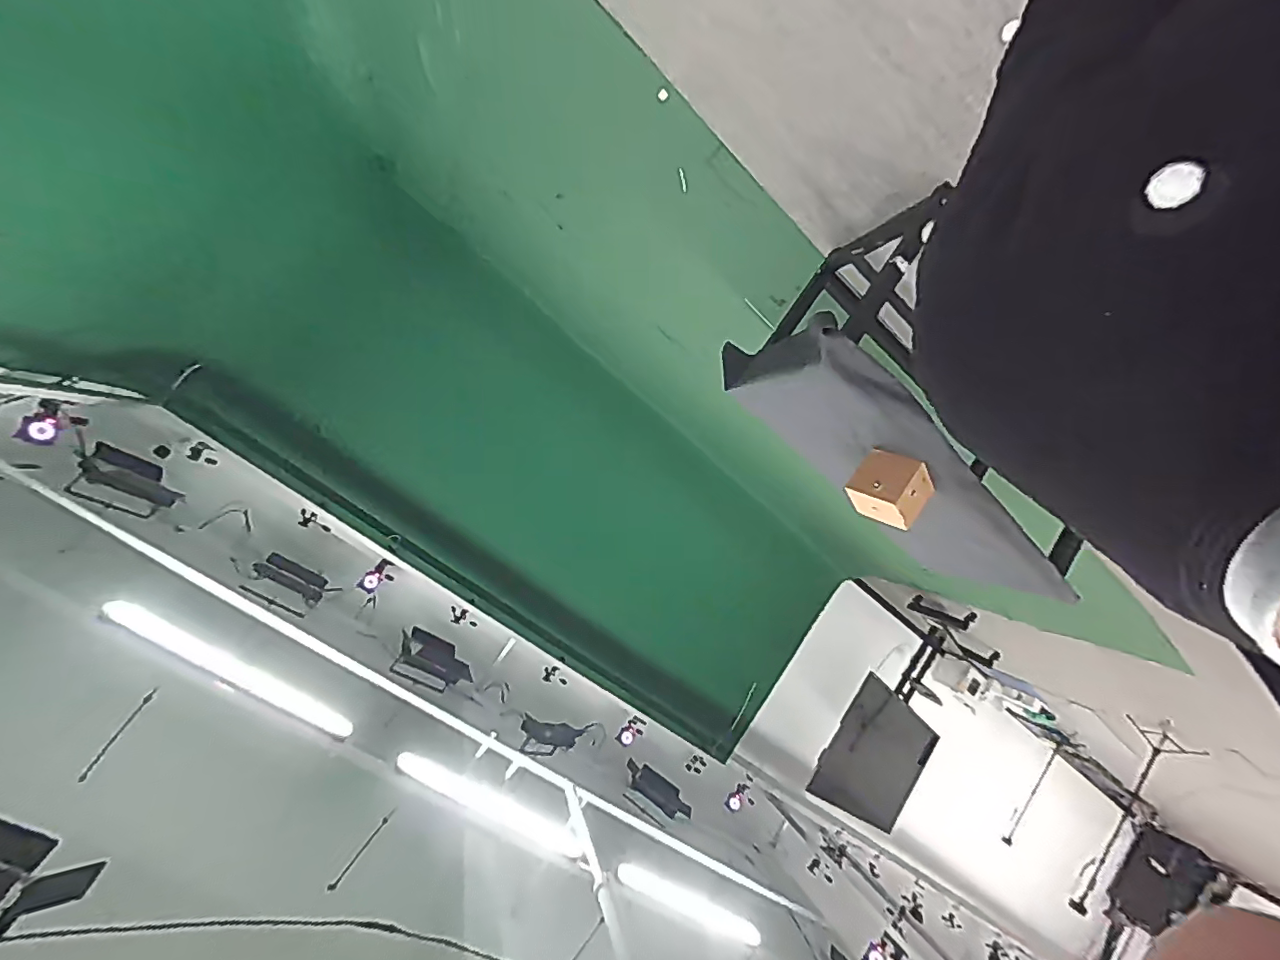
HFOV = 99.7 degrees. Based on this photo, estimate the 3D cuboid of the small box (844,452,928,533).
[{"bbox_3d":[0.787,0.033,1.714,0.179,0.176,0.168,28,167,48],"label":"small box"}]
